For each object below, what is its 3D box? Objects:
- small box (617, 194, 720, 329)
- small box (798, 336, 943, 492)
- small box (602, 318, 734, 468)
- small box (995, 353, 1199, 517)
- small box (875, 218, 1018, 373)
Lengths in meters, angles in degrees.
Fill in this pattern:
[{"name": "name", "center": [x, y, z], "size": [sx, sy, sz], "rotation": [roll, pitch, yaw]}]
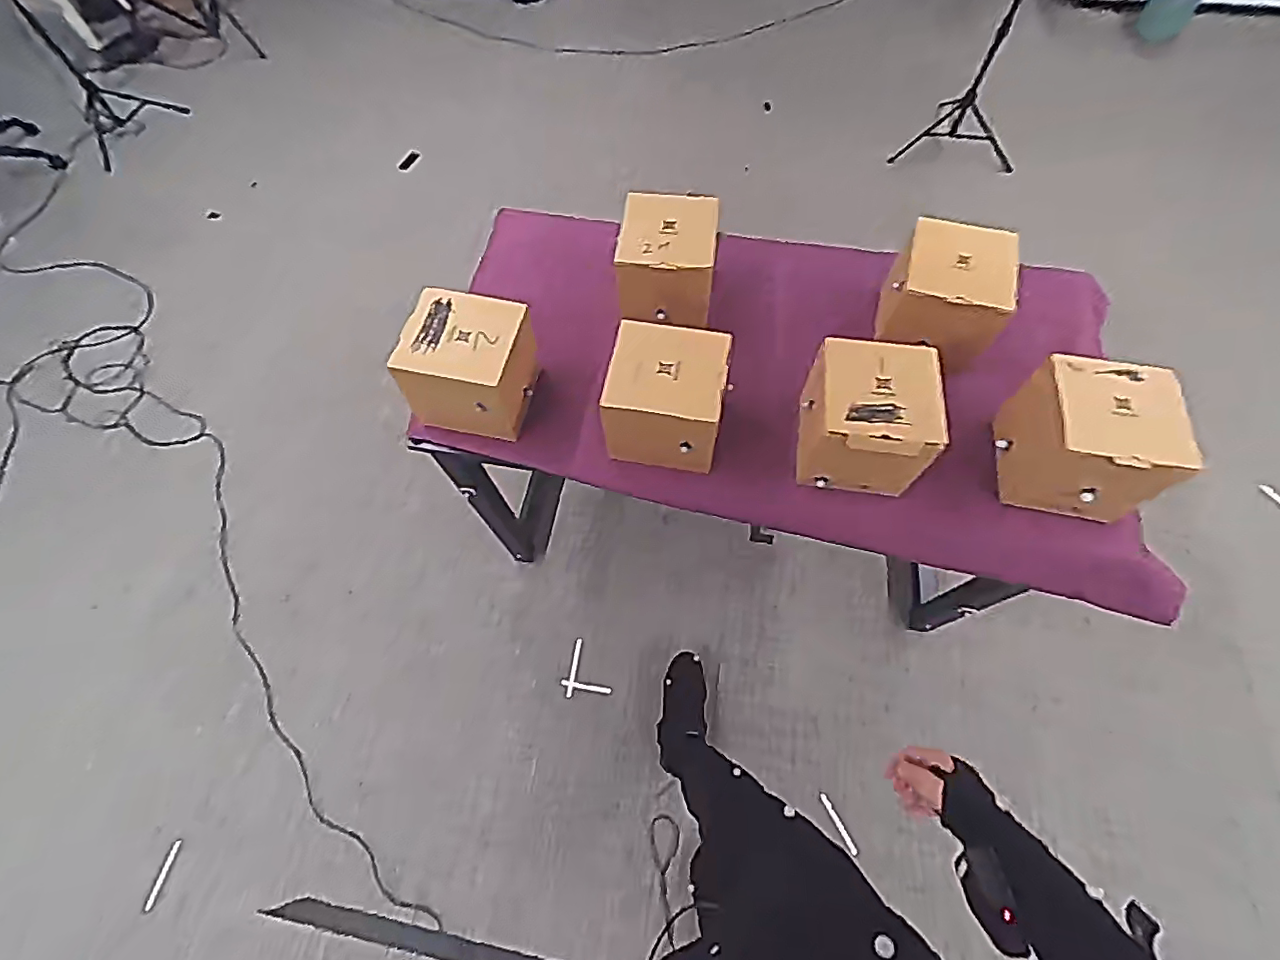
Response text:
[{"name": "small box", "center": [0.054, -0.397, 1.010], "size": [0.168, 0.176, 0.179], "rotation": [6, 65, 5]}, {"name": "small box", "center": [0.352, -0.097, 0.852], "size": [0.168, 0.176, 0.179], "rotation": [8, 64, 6]}, {"name": "small box", "center": [0.046, -0.134, 0.881], "size": [0.179, 0.176, 0.168], "rotation": [9, 65, 6]}, {"name": "small box", "center": [0.671, -0.062, 0.821], "size": [0.168, 0.176, 0.179], "rotation": [11, 64, 8]}, {"name": "small box", "center": [0.533, -0.322, 0.957], "size": [0.168, 0.176, 0.179], "rotation": [15, 67, 9]}]
